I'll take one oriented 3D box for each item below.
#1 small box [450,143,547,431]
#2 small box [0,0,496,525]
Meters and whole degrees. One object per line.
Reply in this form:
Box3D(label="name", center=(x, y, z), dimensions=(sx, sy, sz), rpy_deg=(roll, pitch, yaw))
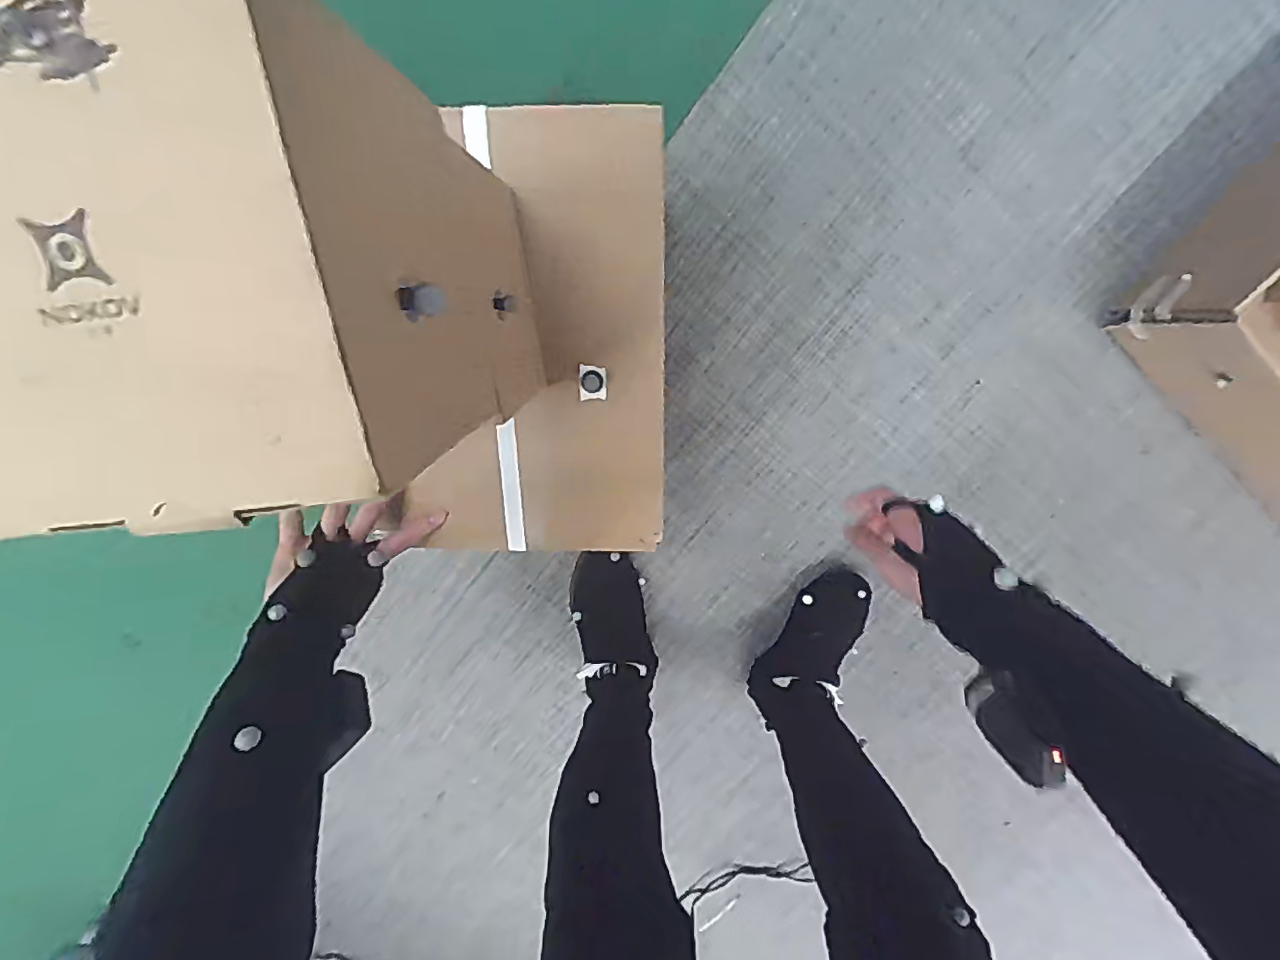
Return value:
Box3D(label="small box", center=(-0.177, -0.135, 0.420), dimensions=(0.168, 0.176, 0.179), rpy_deg=(-6, 107, 3))
Box3D(label="small box", center=(-0.181, -0.096, 0.260), dimensions=(0.168, 0.176, 0.179), rpy_deg=(-6, 108, 3))
